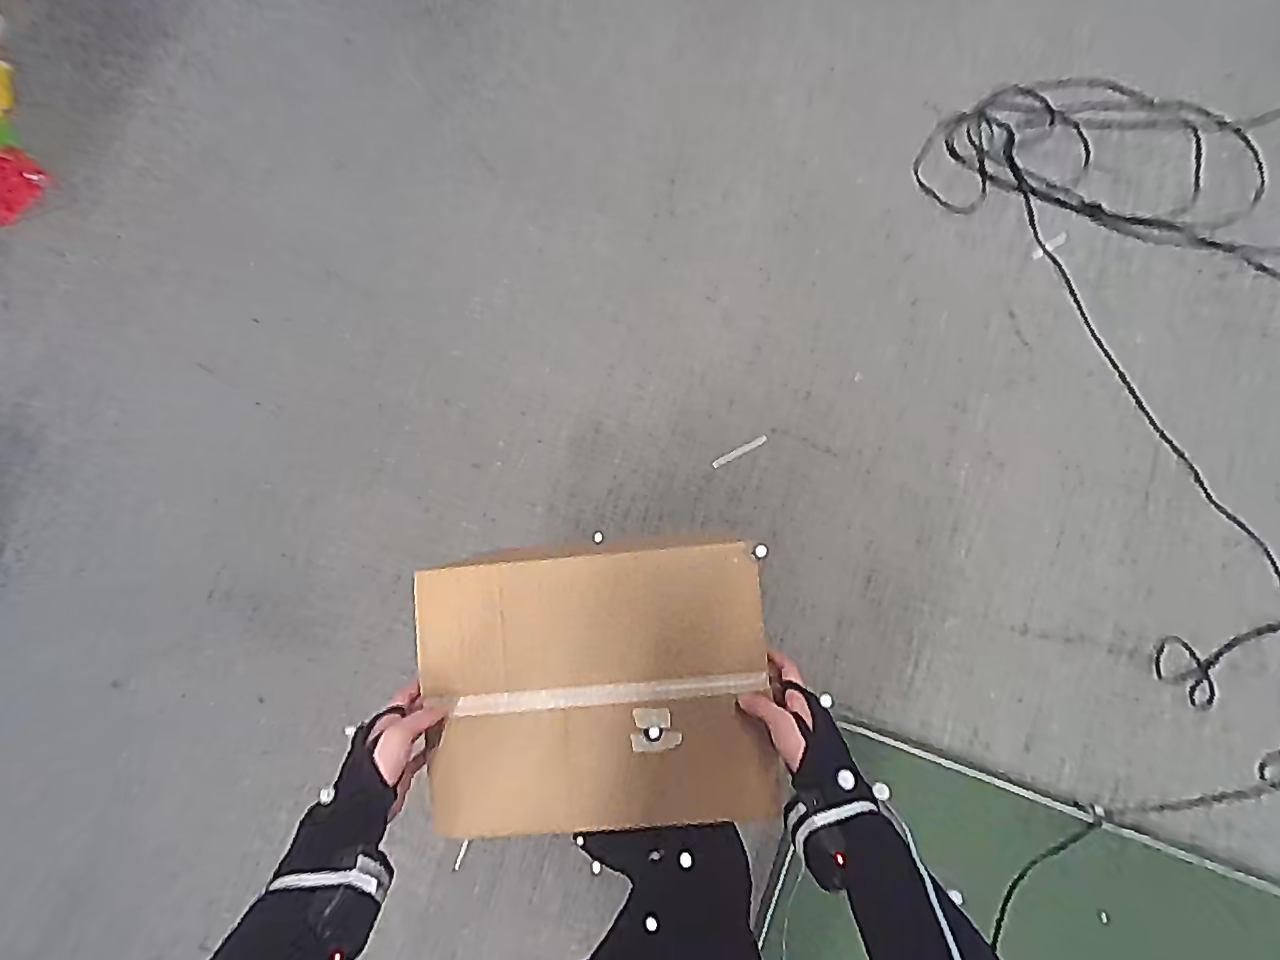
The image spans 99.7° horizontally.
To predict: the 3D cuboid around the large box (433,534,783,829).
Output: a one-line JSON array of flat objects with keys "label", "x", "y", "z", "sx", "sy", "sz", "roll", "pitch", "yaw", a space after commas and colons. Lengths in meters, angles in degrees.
[{"label": "large box", "x": -0.039, "y": 0.252, "z": 0.791, "sx": 0.408, "sy": 0.320, "sz": 0.320, "roll": -5, "pitch": 87, "yaw": 2}]
